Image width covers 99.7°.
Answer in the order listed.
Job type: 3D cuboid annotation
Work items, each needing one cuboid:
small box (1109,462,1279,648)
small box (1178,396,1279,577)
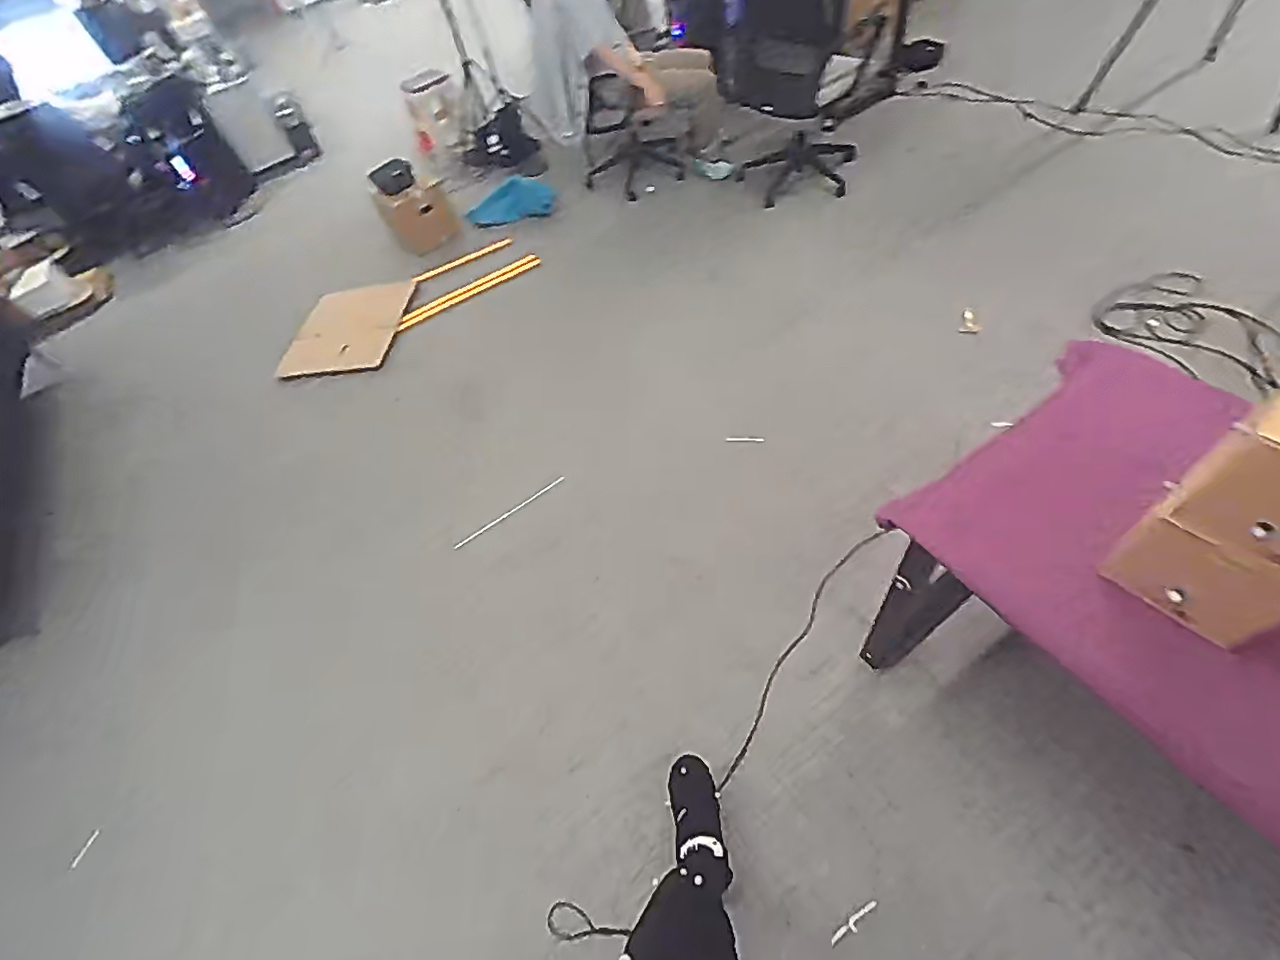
[{"bbox_3d":[0.800,0.092,0.734,0.179,0.176,0.168,-37,54,-14],"label":"small box"},{"bbox_3d":[0.774,-0.003,0.605,0.179,0.176,0.168,-39,56,-15],"label":"small box"}]
